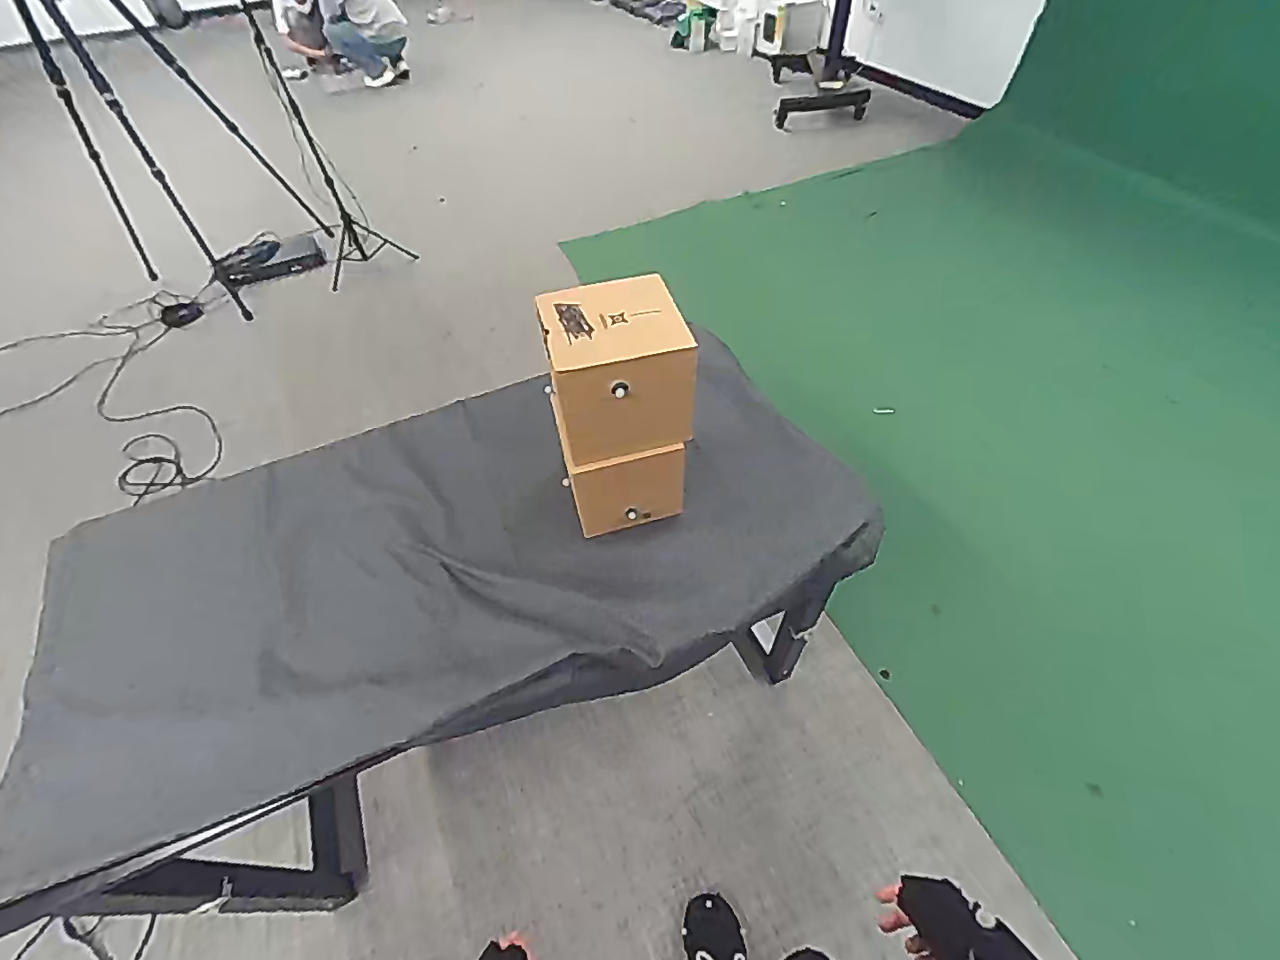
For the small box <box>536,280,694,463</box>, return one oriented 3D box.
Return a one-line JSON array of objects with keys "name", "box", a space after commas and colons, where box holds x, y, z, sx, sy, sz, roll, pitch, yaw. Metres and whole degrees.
[{"name": "small box", "box": [-0.032, -0.144, 0.747, 0.179, 0.176, 0.168, -13, 53, -7]}]
